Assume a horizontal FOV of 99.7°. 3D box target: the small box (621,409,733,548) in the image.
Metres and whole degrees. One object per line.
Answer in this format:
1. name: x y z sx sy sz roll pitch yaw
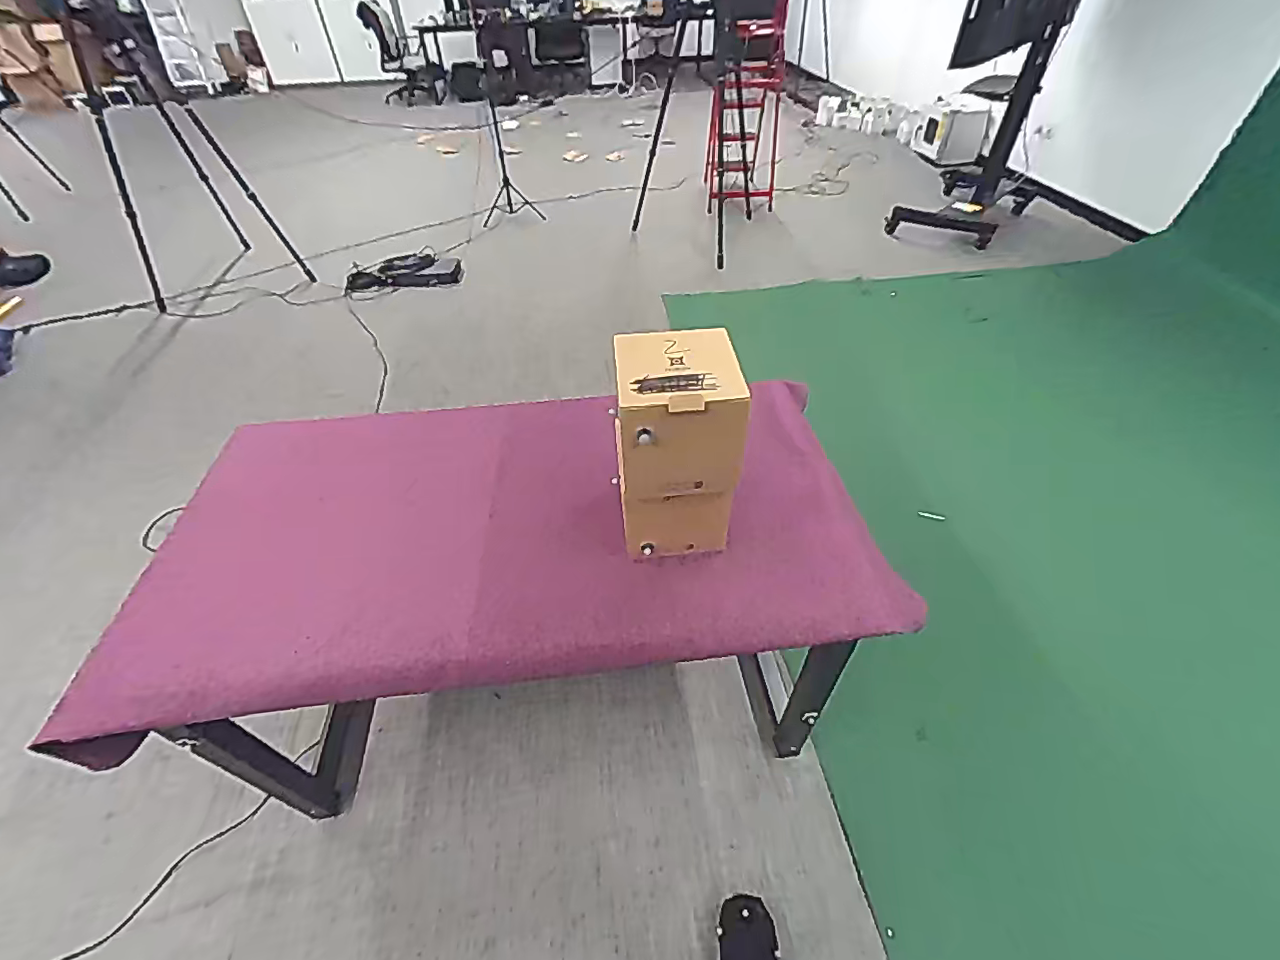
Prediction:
1. small box: 0.054 0.003 0.901 0.168 0.176 0.179 -2 46 -2
